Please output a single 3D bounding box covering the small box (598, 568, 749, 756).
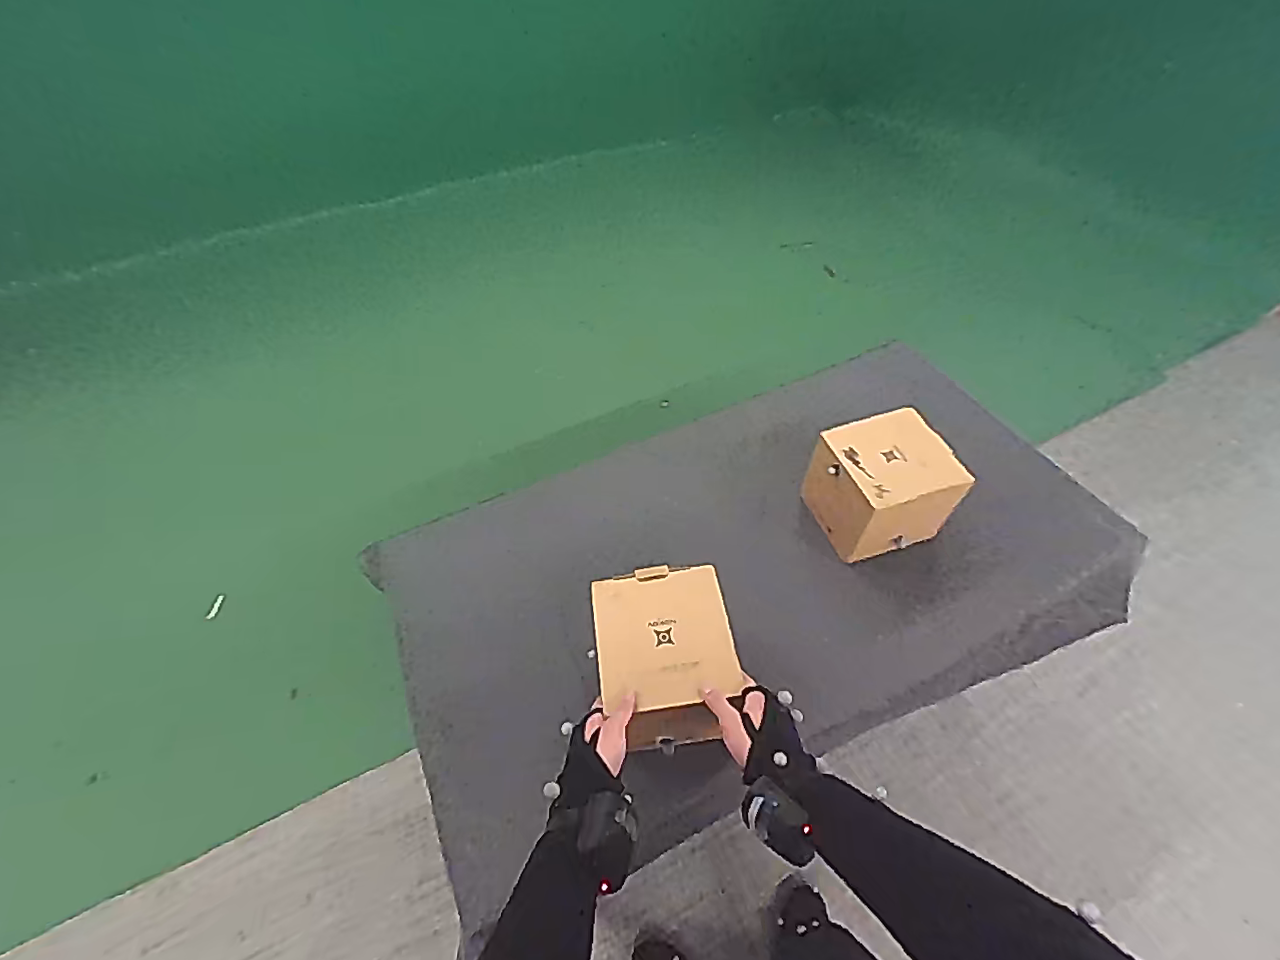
[{"bbox_3d":[0.036,0.238,0.705,0.168,0.176,0.179,-7,50,0],"label":"small box"}]

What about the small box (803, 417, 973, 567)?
[{"bbox_3d":[0.404,0.023,0.916,0.179,0.176,0.168,-14,54,-10],"label":"small box"}]
